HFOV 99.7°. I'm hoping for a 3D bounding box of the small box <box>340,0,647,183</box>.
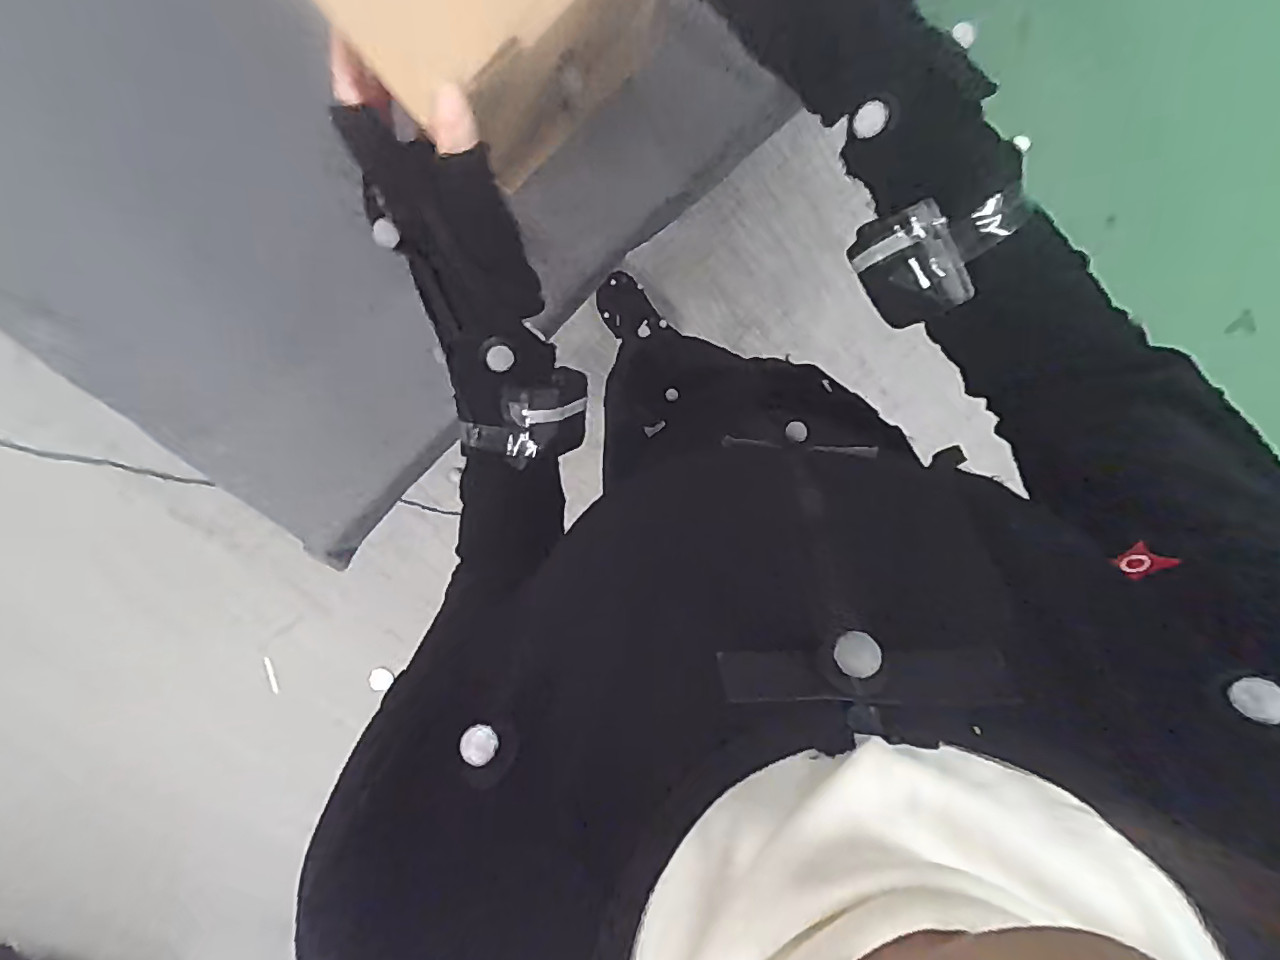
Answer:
[{"bbox_3d":[-0.112,-0.379,0.446,0.179,0.176,0.168,-40,111,10],"label":"small box"}]
